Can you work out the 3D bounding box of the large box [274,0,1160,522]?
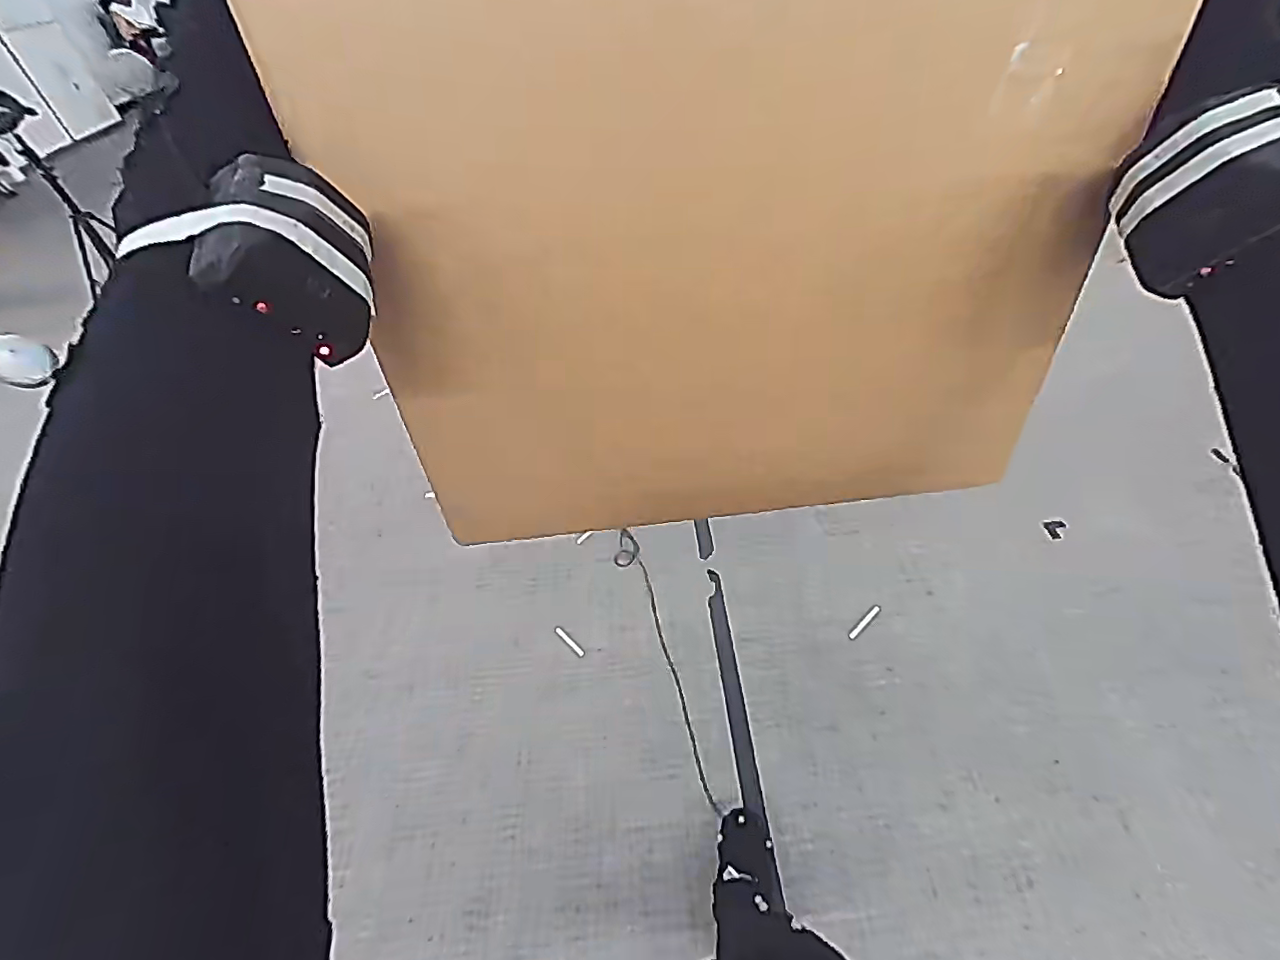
[{"bbox_3d":[0.039,-0.195,0.428,0.408,0.320,0.320,-6,38,-1],"label":"large box"}]
